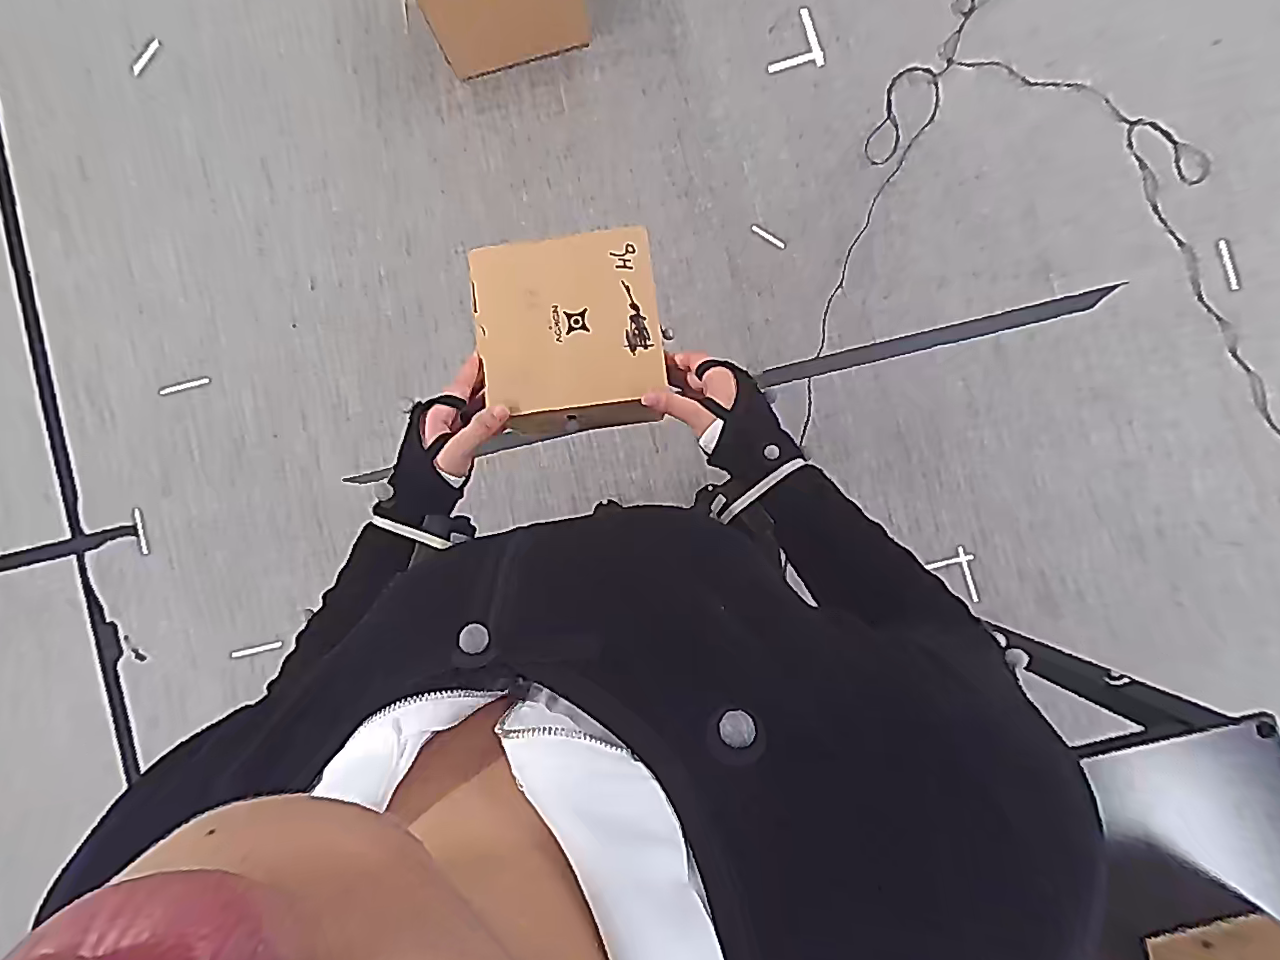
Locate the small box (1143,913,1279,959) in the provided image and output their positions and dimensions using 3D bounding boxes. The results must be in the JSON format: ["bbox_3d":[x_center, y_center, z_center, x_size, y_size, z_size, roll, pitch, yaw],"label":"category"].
[{"bbox_3d":[0.769,0.668,0.647,0.168,0.176,0.179,-17,88,3],"label":"small box"}]

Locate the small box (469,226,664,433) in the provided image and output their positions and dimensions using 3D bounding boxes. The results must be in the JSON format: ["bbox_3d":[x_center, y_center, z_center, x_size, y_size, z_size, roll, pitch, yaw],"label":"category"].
[{"bbox_3d":[-0.068,-0.149,0.595,0.179,0.176,0.168,-7,88,1],"label":"small box"}]
